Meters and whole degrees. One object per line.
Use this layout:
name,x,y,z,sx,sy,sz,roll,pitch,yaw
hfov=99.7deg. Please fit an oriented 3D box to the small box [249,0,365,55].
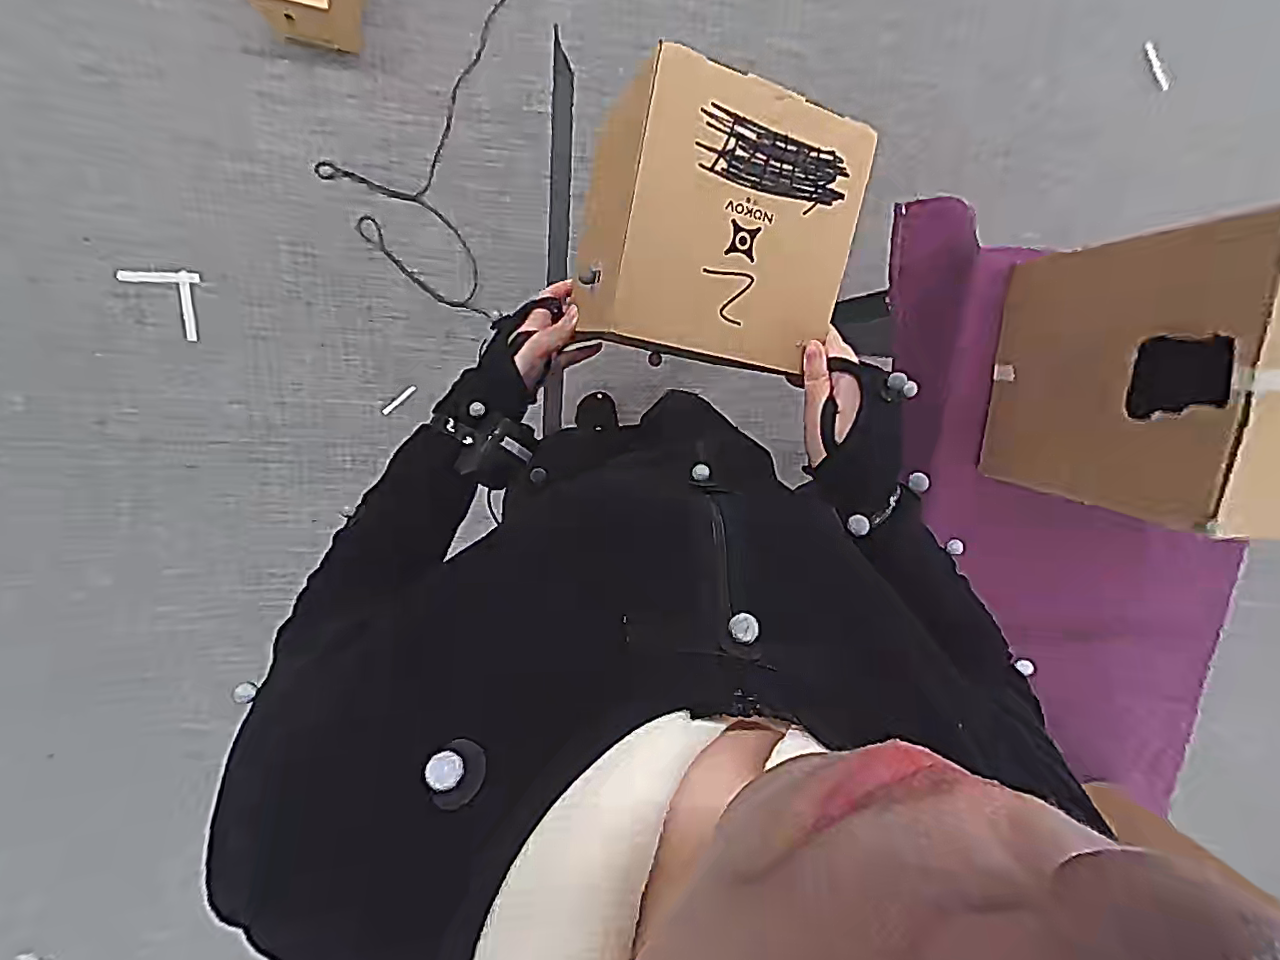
small box,-0.688,-1.034,1.121,0.168,0.176,0.179,8,100,-8
